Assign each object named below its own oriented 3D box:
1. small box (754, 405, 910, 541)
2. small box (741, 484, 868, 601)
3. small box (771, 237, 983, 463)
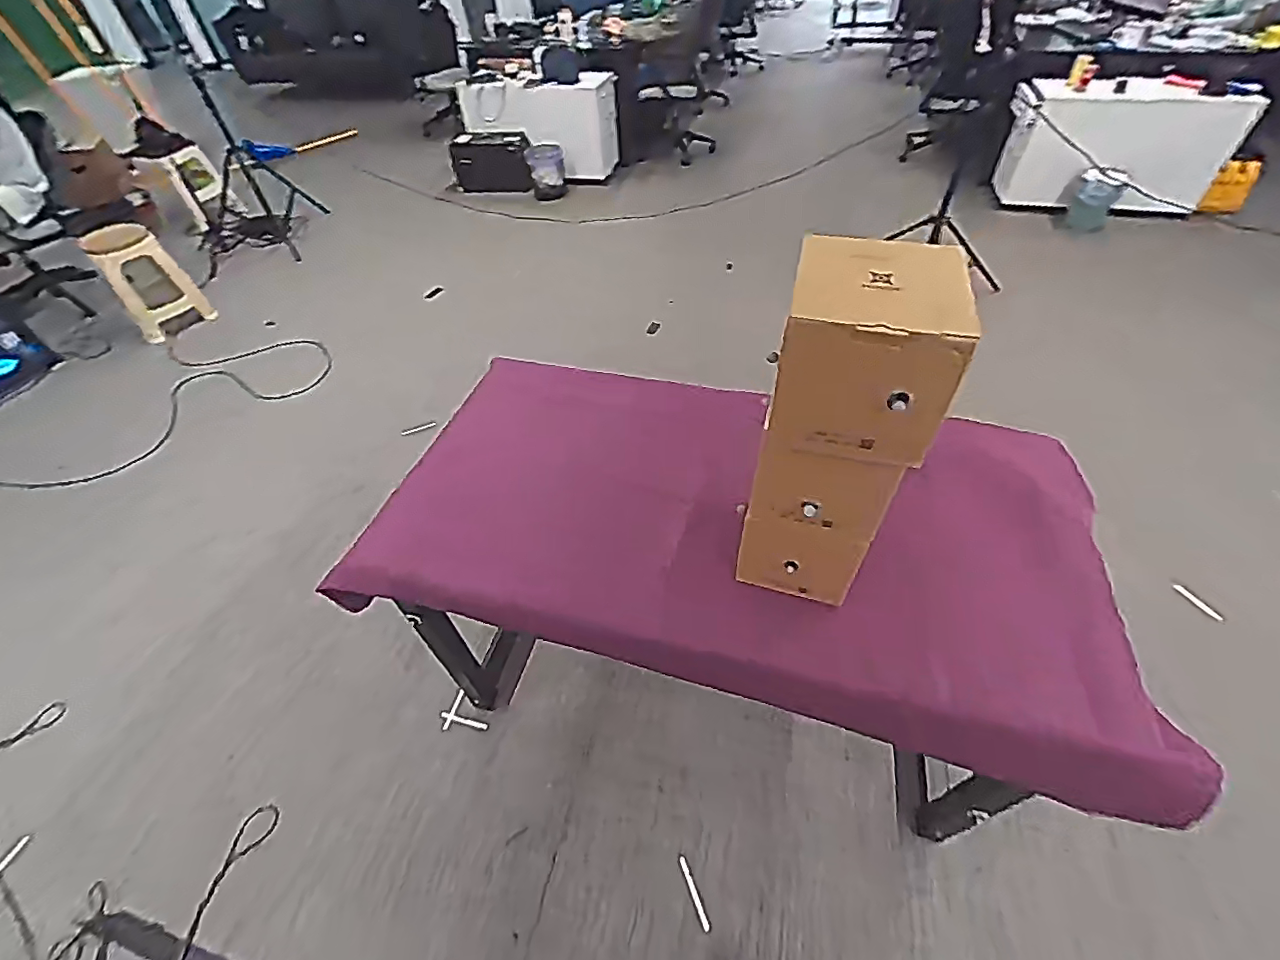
[{"bbox_3d":[0.255,-0.049,0.727,0.168,0.176,0.179,12,50,14],"label":"small box"},{"bbox_3d":[0.258,0.064,0.847,0.168,0.176,0.179,13,50,14],"label":"small box"},{"bbox_3d":[0.244,-0.141,0.593,0.168,0.176,0.179,10,49,11],"label":"small box"}]
